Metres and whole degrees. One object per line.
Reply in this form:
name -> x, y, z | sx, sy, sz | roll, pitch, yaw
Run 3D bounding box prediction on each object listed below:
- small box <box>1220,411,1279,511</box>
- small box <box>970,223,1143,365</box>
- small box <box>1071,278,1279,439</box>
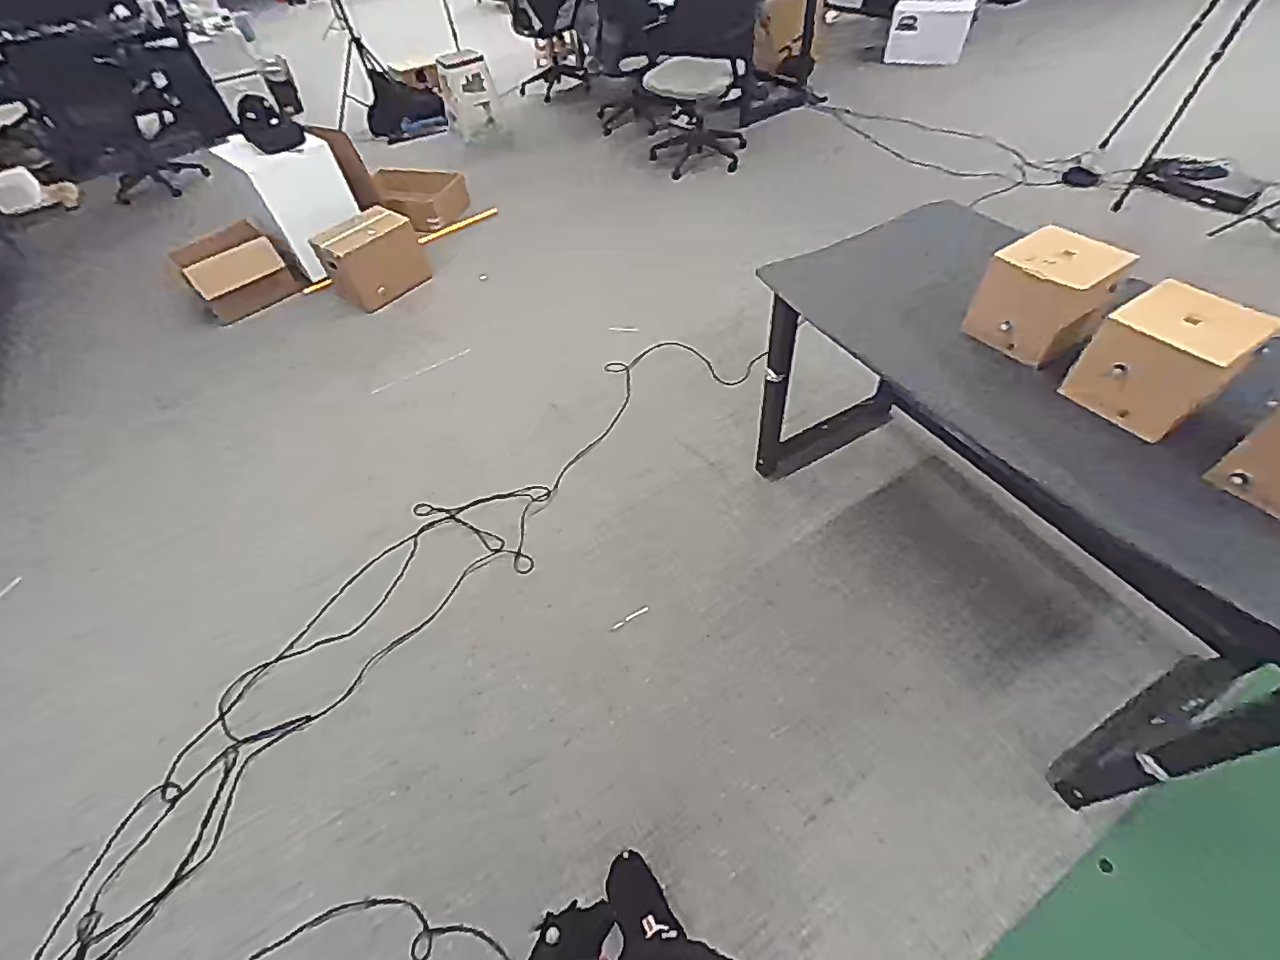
small box -> 0.987, -0.045, 0.751 | 0.179, 0.176, 0.168 | -28, 53, -17
small box -> 0.774, -0.352, 1.027 | 0.179, 0.176, 0.168 | -29, 53, -17
small box -> 0.868, -0.198, 0.893 | 0.179, 0.176, 0.168 | -28, 53, -17
